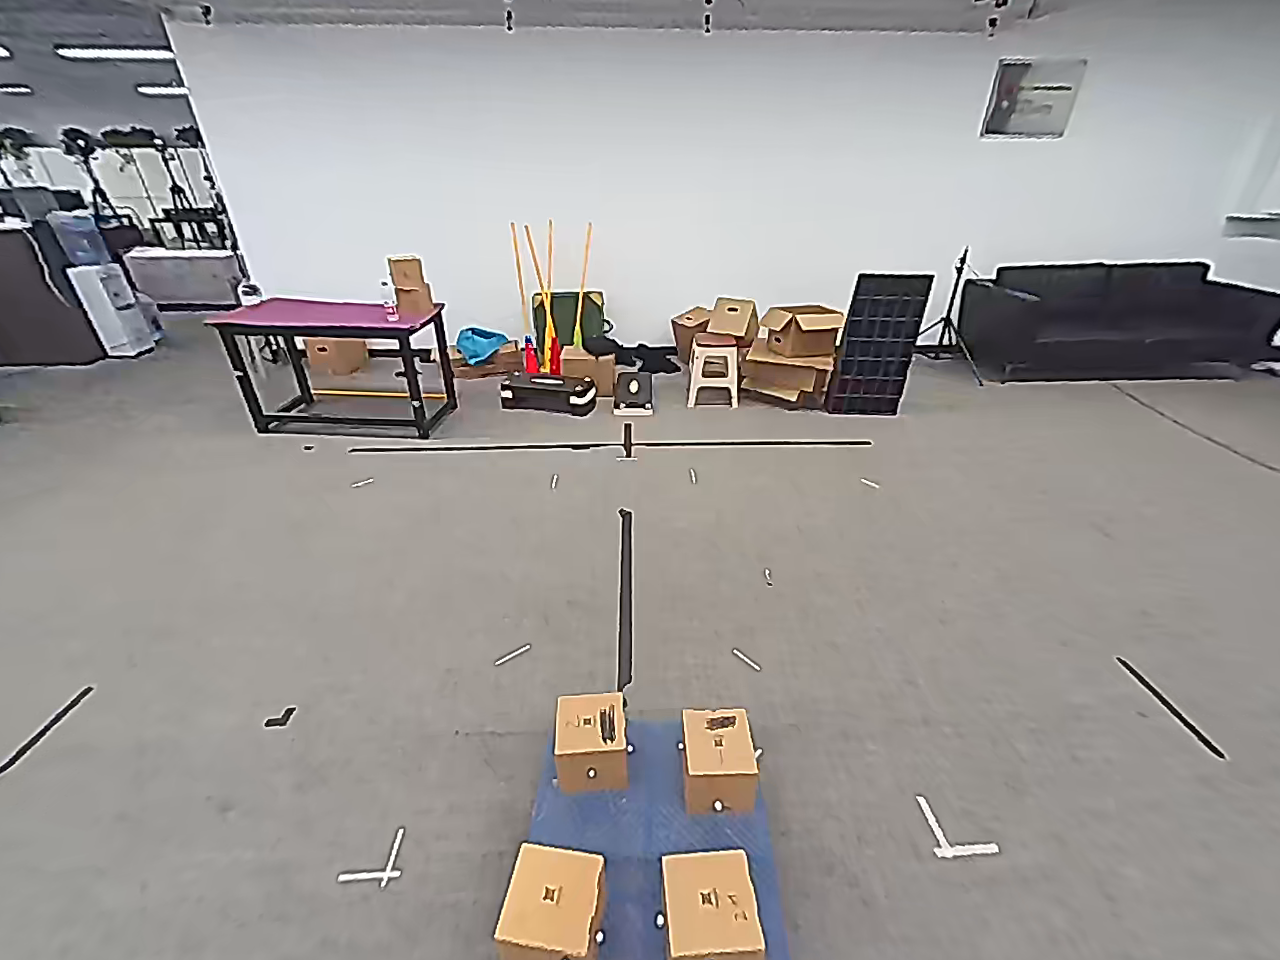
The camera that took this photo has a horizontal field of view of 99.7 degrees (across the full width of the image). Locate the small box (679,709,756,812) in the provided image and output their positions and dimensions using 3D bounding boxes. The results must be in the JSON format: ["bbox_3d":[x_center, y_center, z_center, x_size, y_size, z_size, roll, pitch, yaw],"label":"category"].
[{"bbox_3d":[0.189,0.710,1.374,0.168,0.176,0.179,0,31,-1],"label":"small box"}]

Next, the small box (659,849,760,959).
[{"bbox_3d":[0.130,0.878,1.086,0.179,0.176,0.168,-1,31,-3],"label":"small box"}]

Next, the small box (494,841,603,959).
[{"bbox_3d":[-0.176,0.873,1.094,0.179,0.176,0.168,5,30,6],"label":"small box"}]
